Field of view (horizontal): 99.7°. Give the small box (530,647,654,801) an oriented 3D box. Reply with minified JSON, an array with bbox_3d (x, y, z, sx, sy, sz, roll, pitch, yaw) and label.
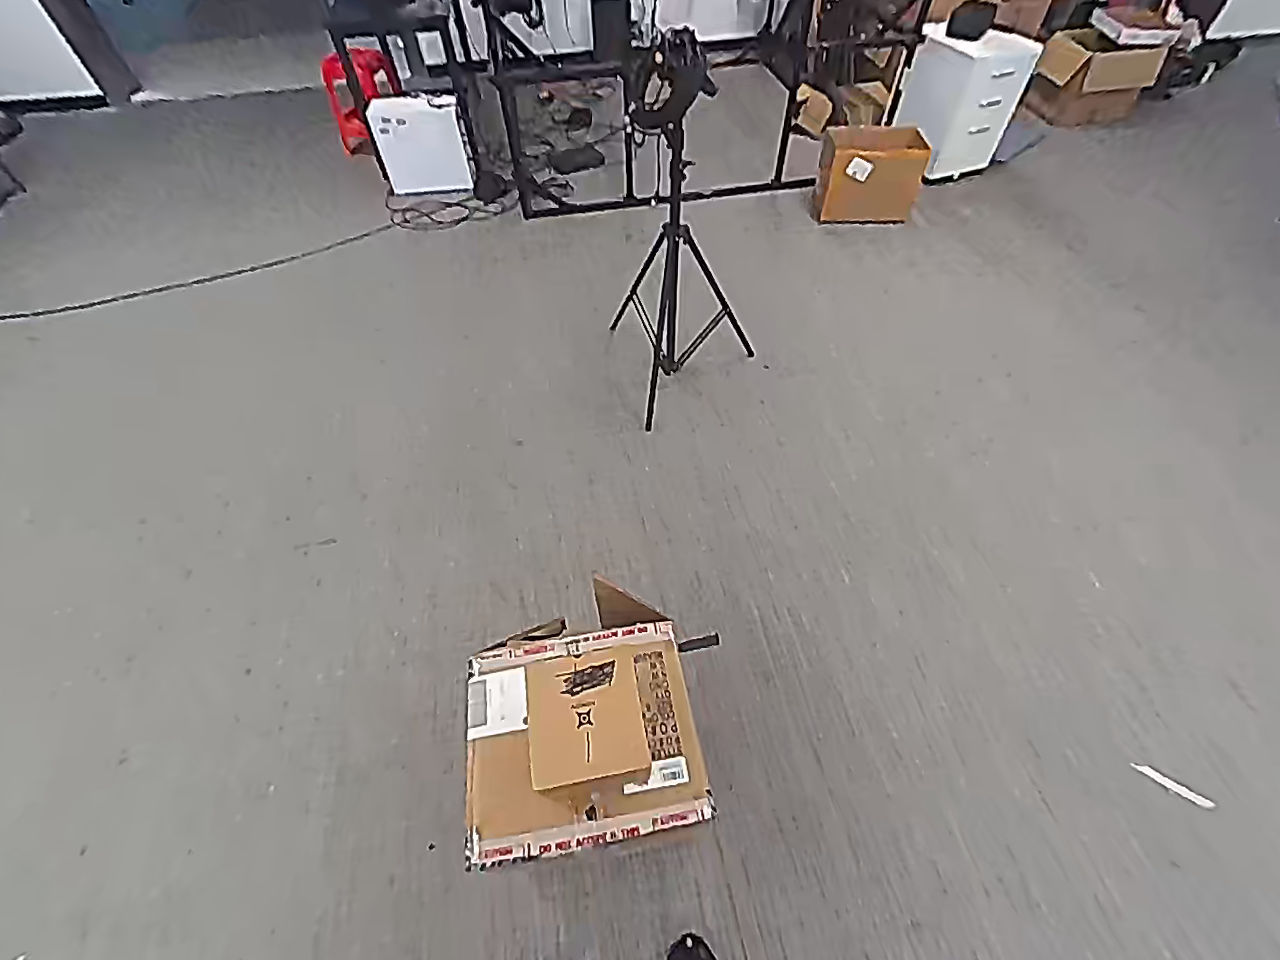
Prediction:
[{"bbox_3d":[-0.075,0.386,0.850,0.168,0.176,0.179,-9,56,-5],"label":"small box"}]
